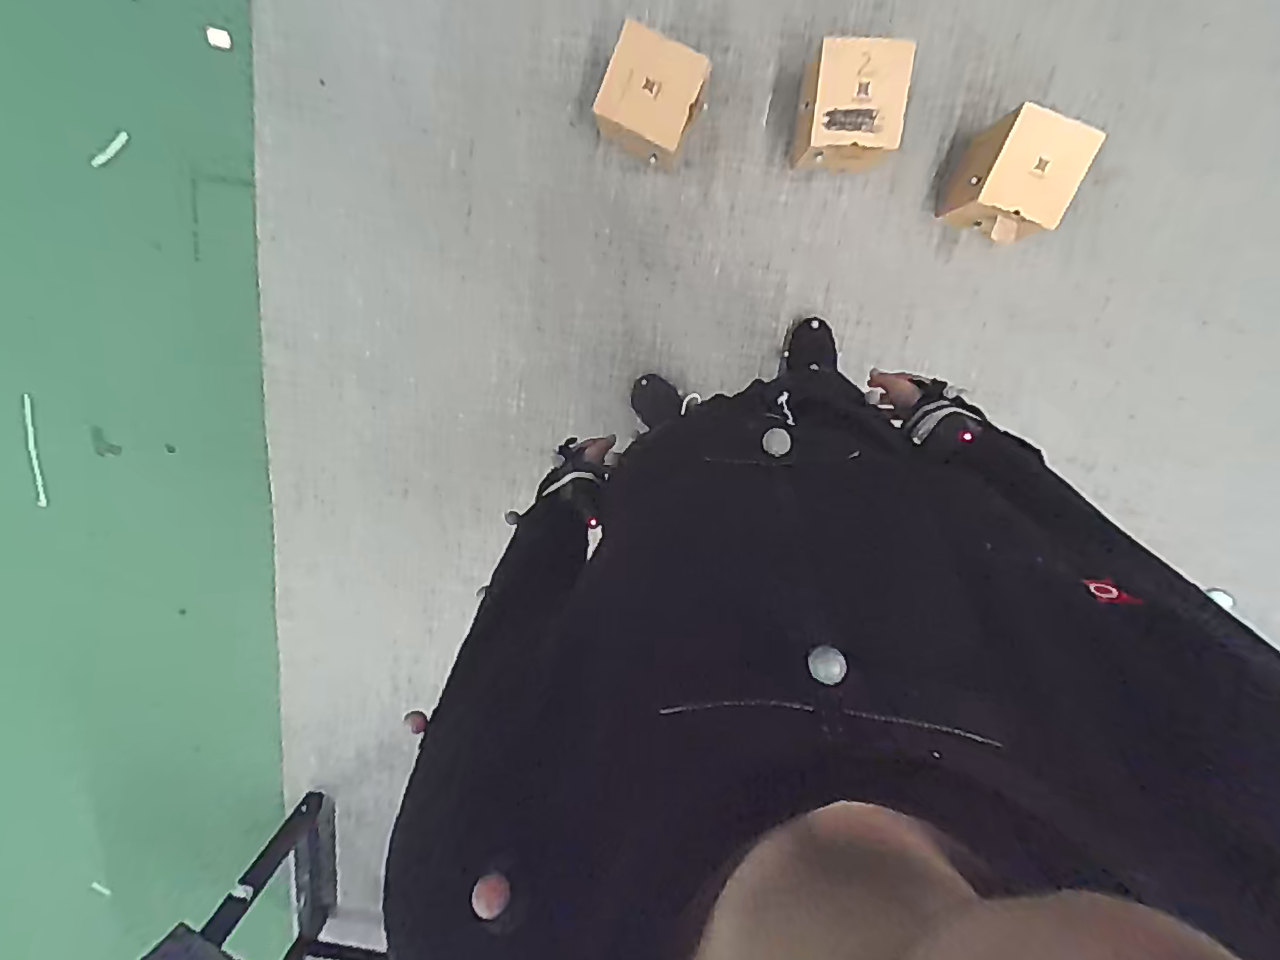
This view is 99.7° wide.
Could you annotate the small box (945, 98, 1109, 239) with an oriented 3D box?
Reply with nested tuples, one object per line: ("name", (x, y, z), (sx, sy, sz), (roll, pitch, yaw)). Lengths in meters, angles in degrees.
("small box", (0.744, -0.599, 1.065), (0.168, 0.176, 0.179), (19, 106, -2))

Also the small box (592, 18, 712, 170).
("small box", (0.026, -0.743, 1.068), (0.179, 0.176, 0.168), (25, 104, -2))
